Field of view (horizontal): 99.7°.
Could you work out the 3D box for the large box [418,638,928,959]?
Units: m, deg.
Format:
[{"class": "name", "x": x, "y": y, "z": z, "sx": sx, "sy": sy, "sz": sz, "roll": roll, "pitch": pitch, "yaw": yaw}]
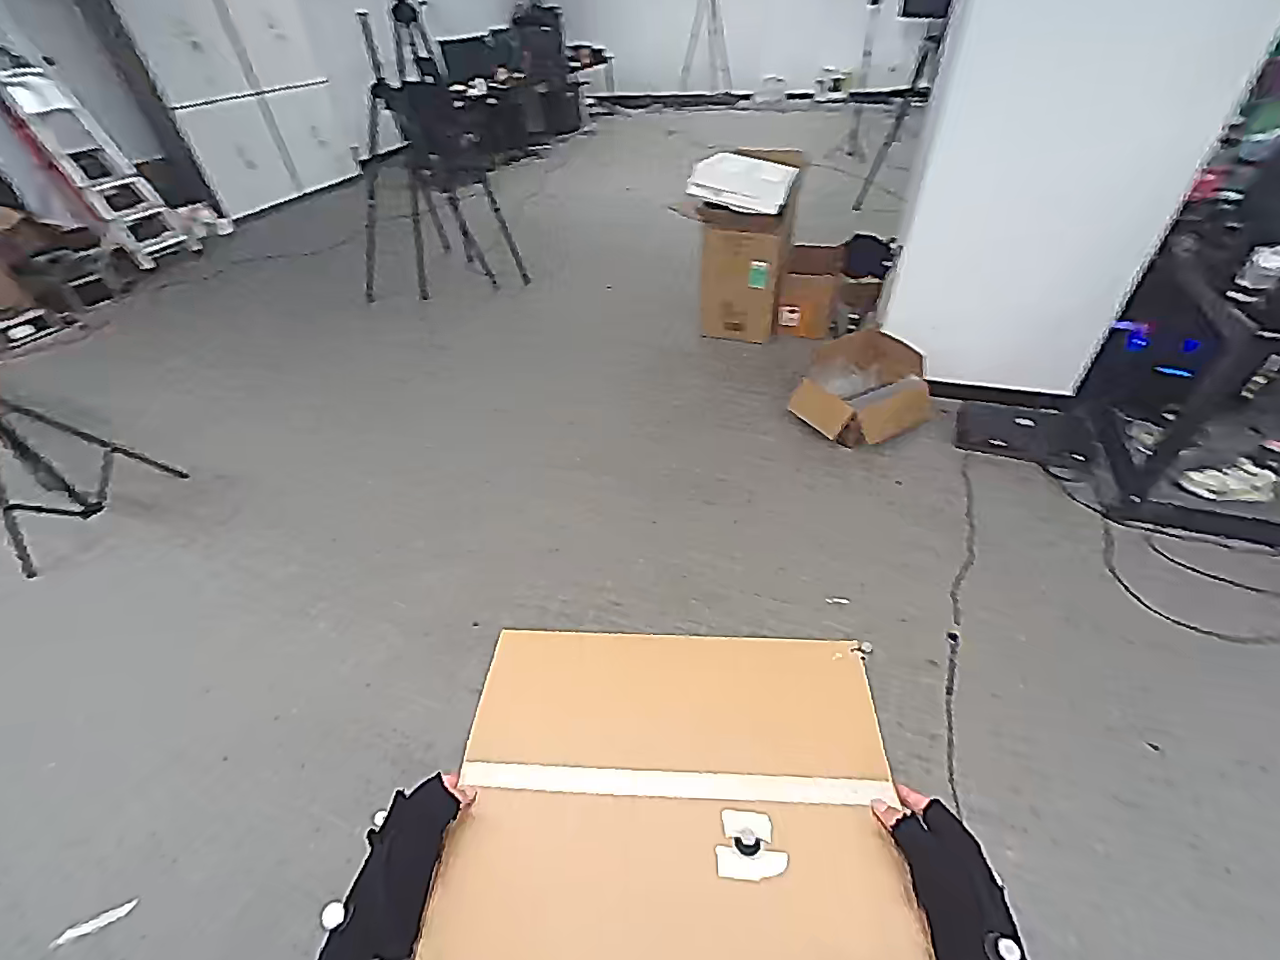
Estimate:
[{"class": "large box", "x": 0.032, "y": 0.399, "z": 0.610, "sx": 0.408, "sy": 0.320, "sz": 0.320, "roll": 1, "pitch": 43, "yaw": 4}]
